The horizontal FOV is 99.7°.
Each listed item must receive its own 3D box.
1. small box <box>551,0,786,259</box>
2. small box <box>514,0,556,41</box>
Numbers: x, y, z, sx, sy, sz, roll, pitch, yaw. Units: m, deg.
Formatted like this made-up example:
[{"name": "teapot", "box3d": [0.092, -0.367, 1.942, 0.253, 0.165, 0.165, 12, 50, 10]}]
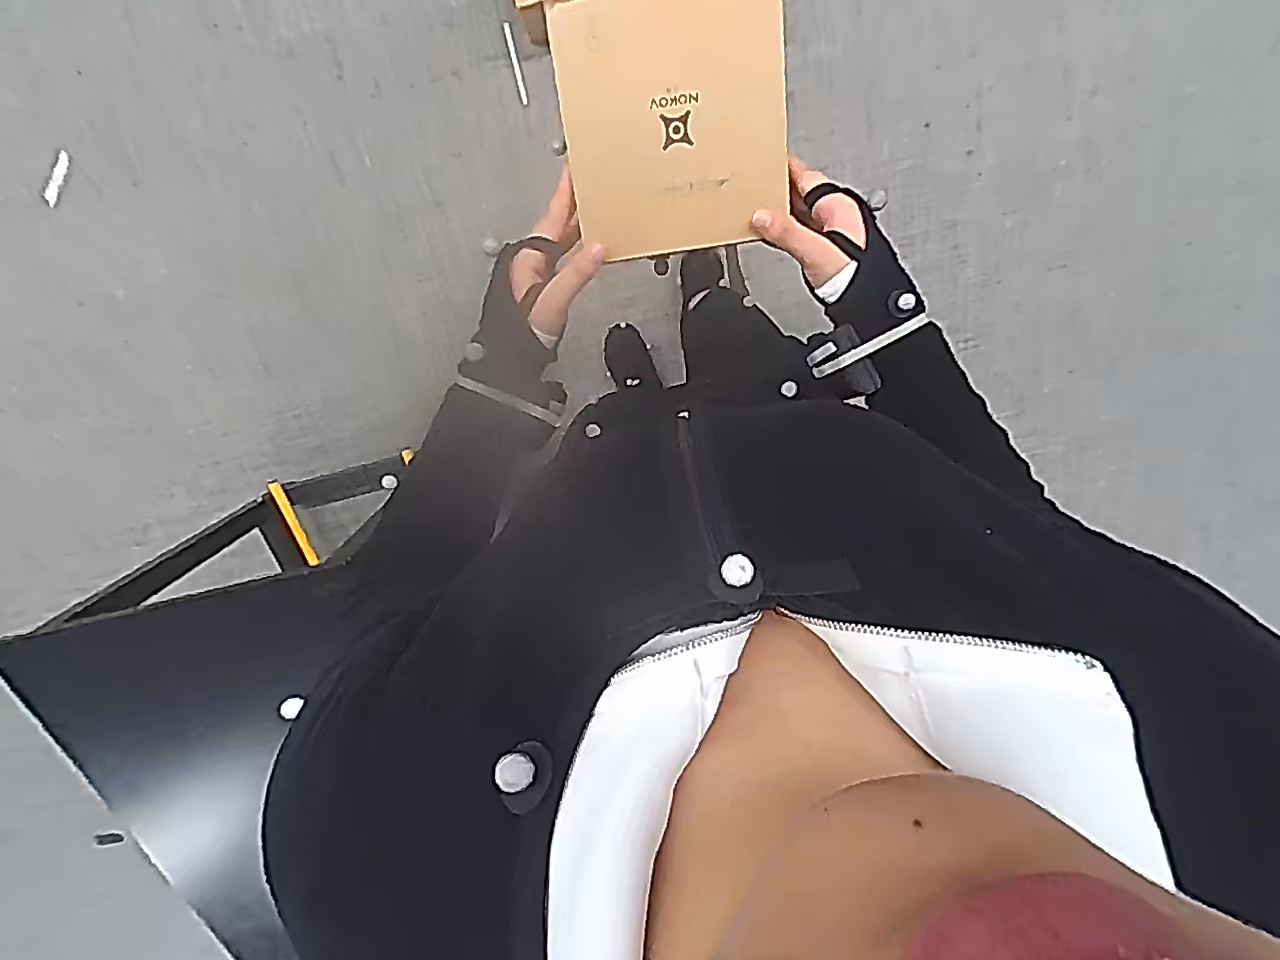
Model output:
[{"name": "small box", "box3d": [0.022, -0.299, 0.476, 0.168, 0.176, 0.179, -8, 112, 0]}, {"name": "small box", "box3d": [-0.171, -1.012, 1.063, 0.179, 0.176, 0.168, -14, 110, 4]}]
